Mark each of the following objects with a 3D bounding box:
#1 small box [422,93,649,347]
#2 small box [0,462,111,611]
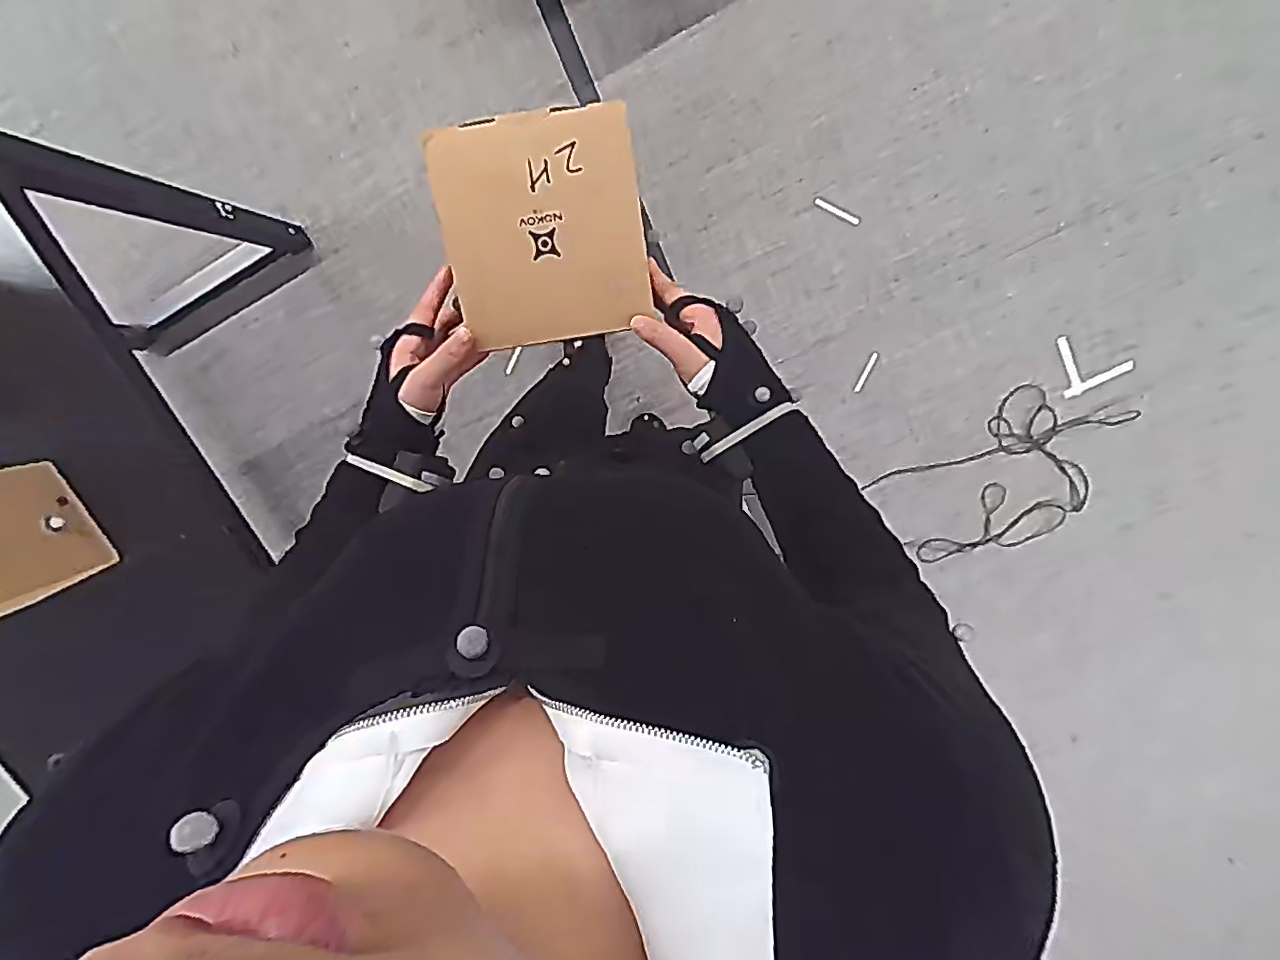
[{"bbox_3d":[-0.081,-0.232,0.523,0.168,0.176,0.179,-8,106,1],"label":"small box"},{"bbox_3d":[-0.880,0.093,0.711,0.179,0.176,0.168,-24,102,8],"label":"small box"}]
